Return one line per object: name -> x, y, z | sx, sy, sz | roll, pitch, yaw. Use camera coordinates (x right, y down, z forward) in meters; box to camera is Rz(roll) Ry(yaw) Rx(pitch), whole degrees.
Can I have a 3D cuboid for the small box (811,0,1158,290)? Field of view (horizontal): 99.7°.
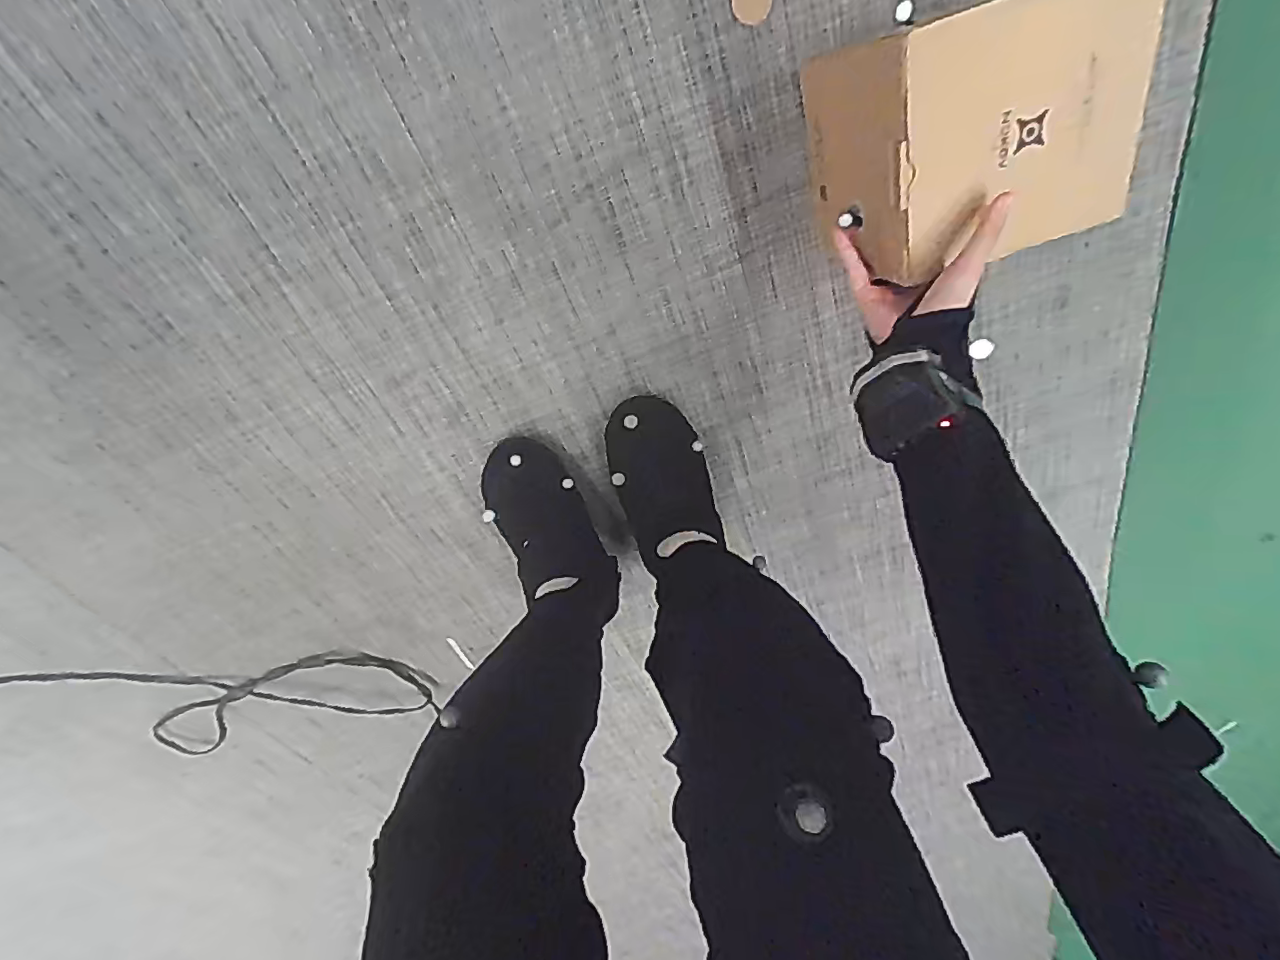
small box -> 0.255, -0.279, 0.449 | 0.179, 0.176, 0.168 | -18, 123, 2
